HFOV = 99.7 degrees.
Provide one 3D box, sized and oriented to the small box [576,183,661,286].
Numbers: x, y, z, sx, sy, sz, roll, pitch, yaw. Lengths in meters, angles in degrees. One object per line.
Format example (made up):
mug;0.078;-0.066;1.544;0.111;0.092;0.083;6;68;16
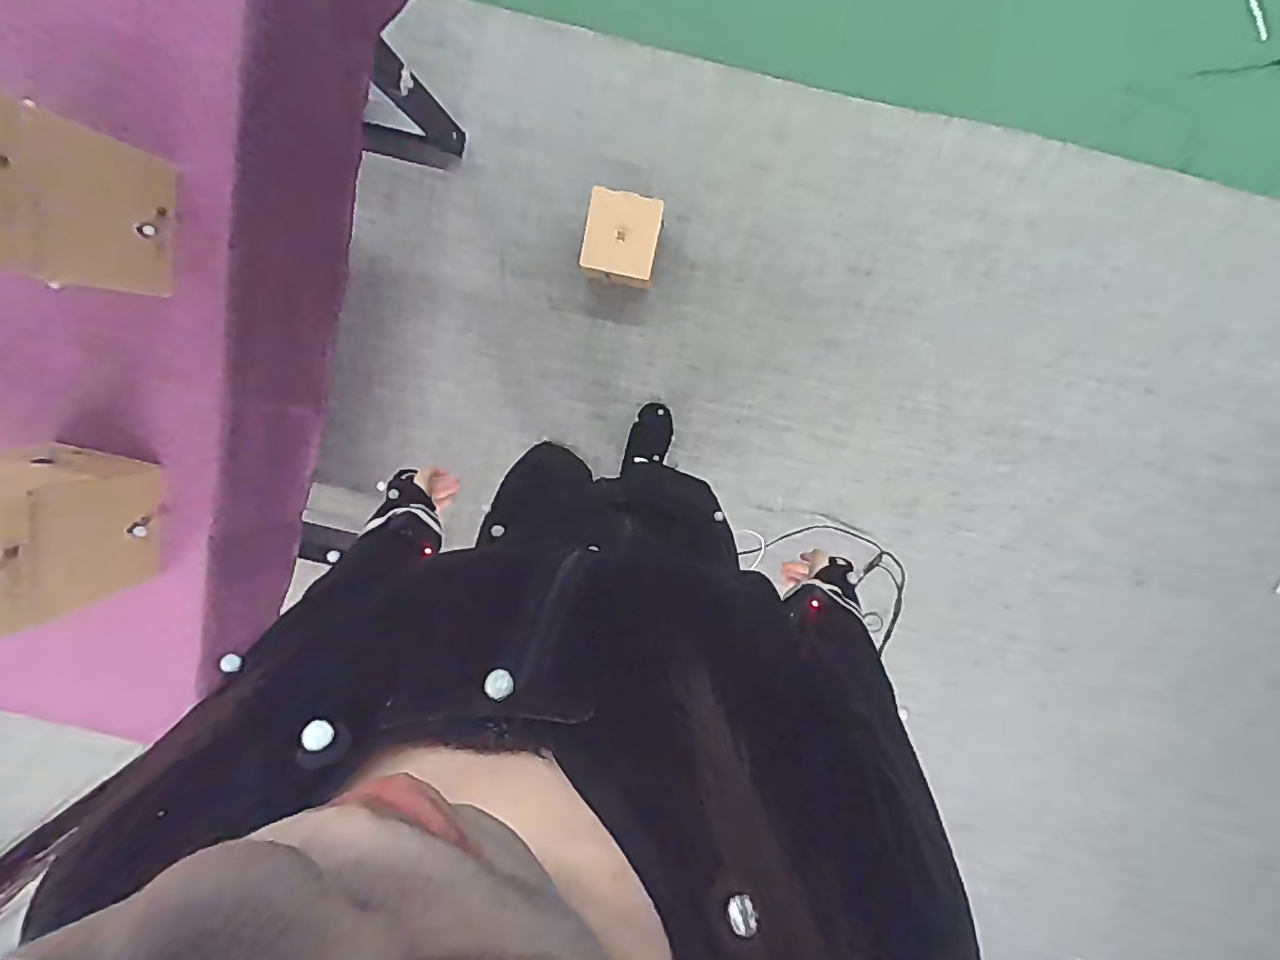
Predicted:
small box;-0.047;-0.576;1.292;0.168;0.176;0.179;12;102;-1

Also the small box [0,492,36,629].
small box;-0.788;0.093;0.545;0.179;0.176;0.168;14;103;-1

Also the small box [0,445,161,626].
small box;-0.777;0.059;0.706;0.168;0.176;0.179;12;102;0
